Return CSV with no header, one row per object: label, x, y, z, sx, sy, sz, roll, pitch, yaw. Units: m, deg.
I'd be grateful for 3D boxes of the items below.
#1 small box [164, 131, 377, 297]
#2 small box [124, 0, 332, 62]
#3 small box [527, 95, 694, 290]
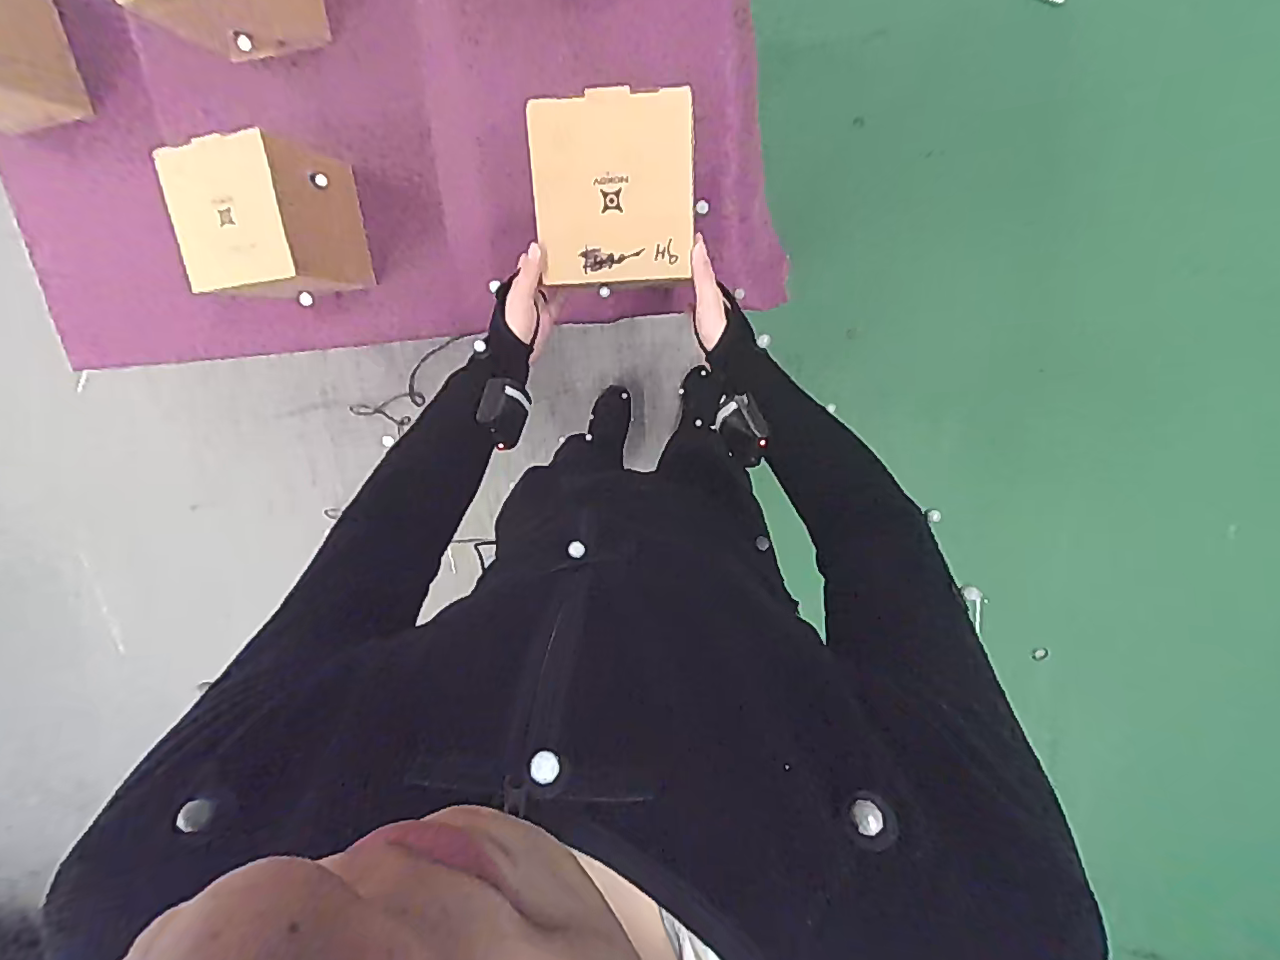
small box,-0.519,-0.370,0.785,0.168,0.176,0.179,-3,105,12
small box,-0.539,-0.683,0.694,0.168,0.176,0.179,-1,109,10
small box,-0.024,-0.321,0.639,0.168,0.176,0.179,1,109,8
